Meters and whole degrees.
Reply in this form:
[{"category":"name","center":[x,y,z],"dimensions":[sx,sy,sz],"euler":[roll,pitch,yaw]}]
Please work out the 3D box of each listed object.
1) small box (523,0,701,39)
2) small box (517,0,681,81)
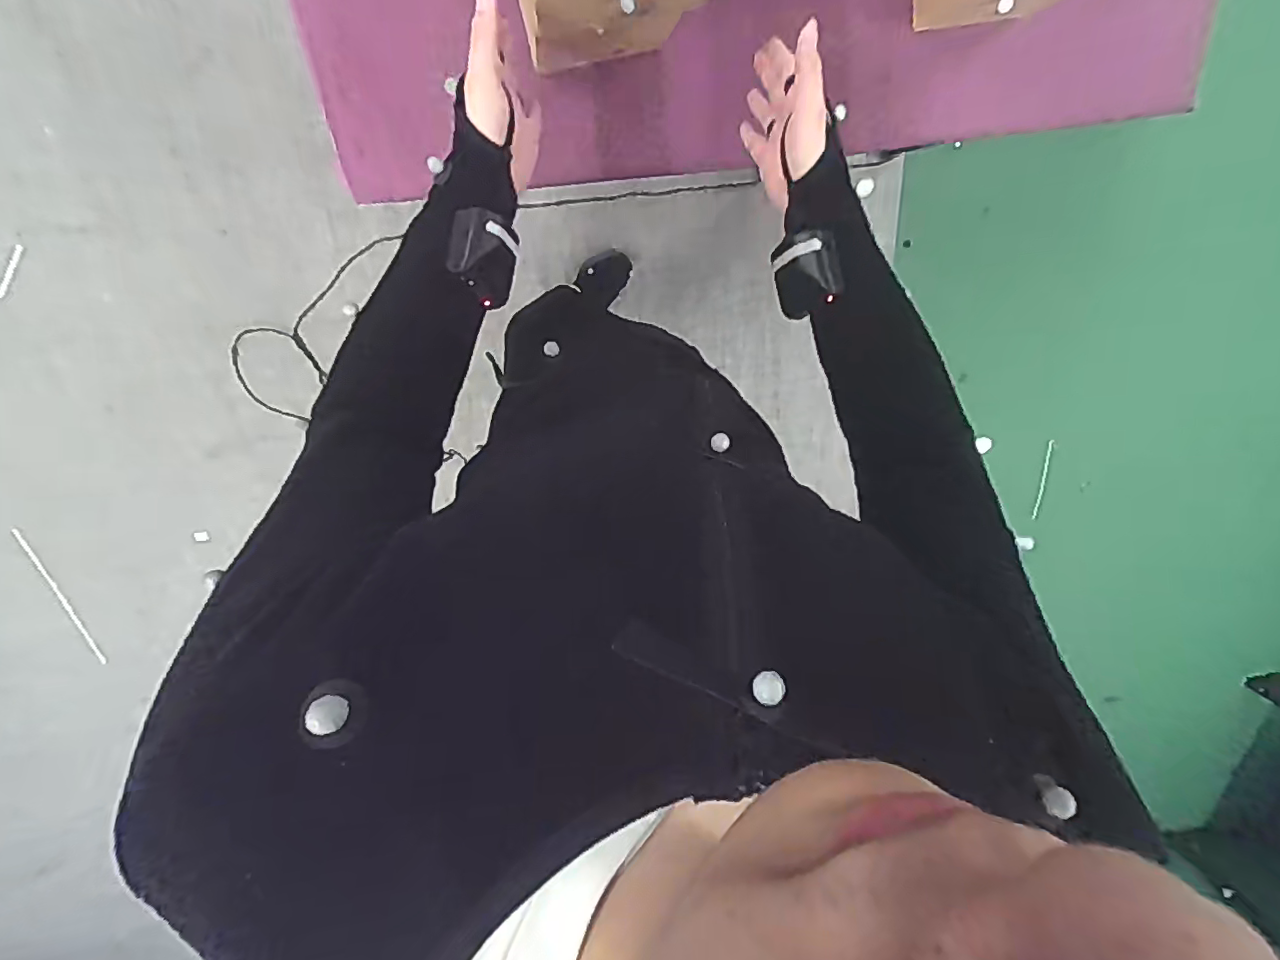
[{"category":"small box","center":[-0.026,-0.484,0.426],"dimensions":[0.168,0.176,0.179],"euler":[-14,114,-5]},{"category":"small box","center":[-0.056,-0.562,0.572],"dimensions":[0.168,0.176,0.179],"euler":[-14,115,-3]}]
